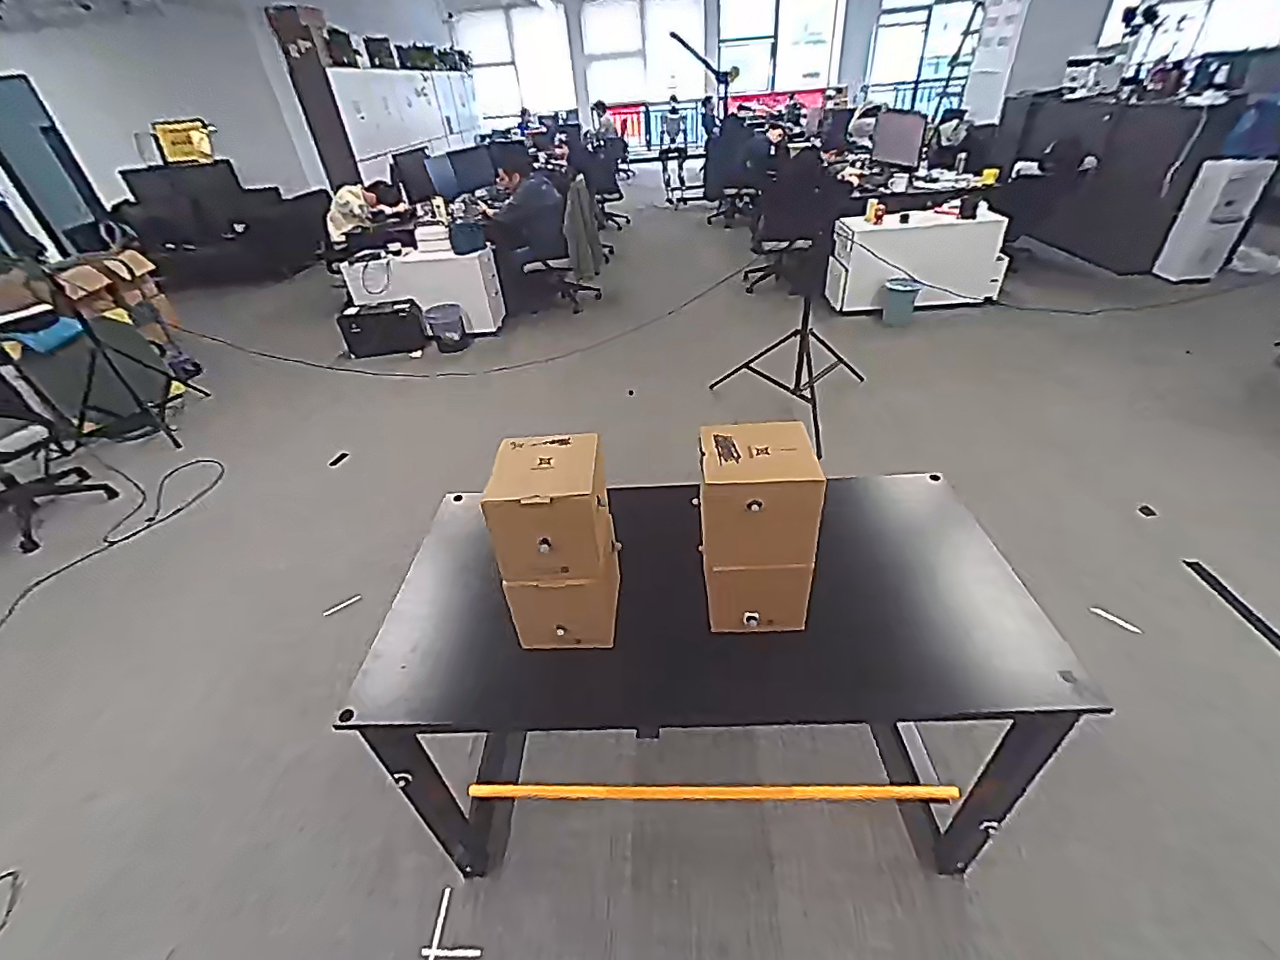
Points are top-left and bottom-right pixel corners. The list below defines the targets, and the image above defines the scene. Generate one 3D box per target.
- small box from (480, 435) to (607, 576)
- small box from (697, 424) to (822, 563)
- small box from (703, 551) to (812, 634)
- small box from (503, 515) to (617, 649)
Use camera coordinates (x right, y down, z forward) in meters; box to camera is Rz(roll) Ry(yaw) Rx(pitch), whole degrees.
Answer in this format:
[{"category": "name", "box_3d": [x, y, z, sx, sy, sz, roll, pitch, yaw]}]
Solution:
[{"category": "small box", "box_3d": [-0.147, 0.046, 0.894, 0.168, 0.176, 0.179, -3, 37, 2]}, {"category": "small box", "box_3d": [0.186, 0.023, 0.888, 0.179, 0.176, 0.168, -2, 36, 4]}, {"category": "small box", "box_3d": [0.203, 0.156, 0.984, 0.168, 0.176, 0.179, -4, 37, 3]}, {"category": "small box", "box_3d": [-0.133, 0.183, 0.984, 0.168, 0.176, 0.179, -2, 36, 5]}]
